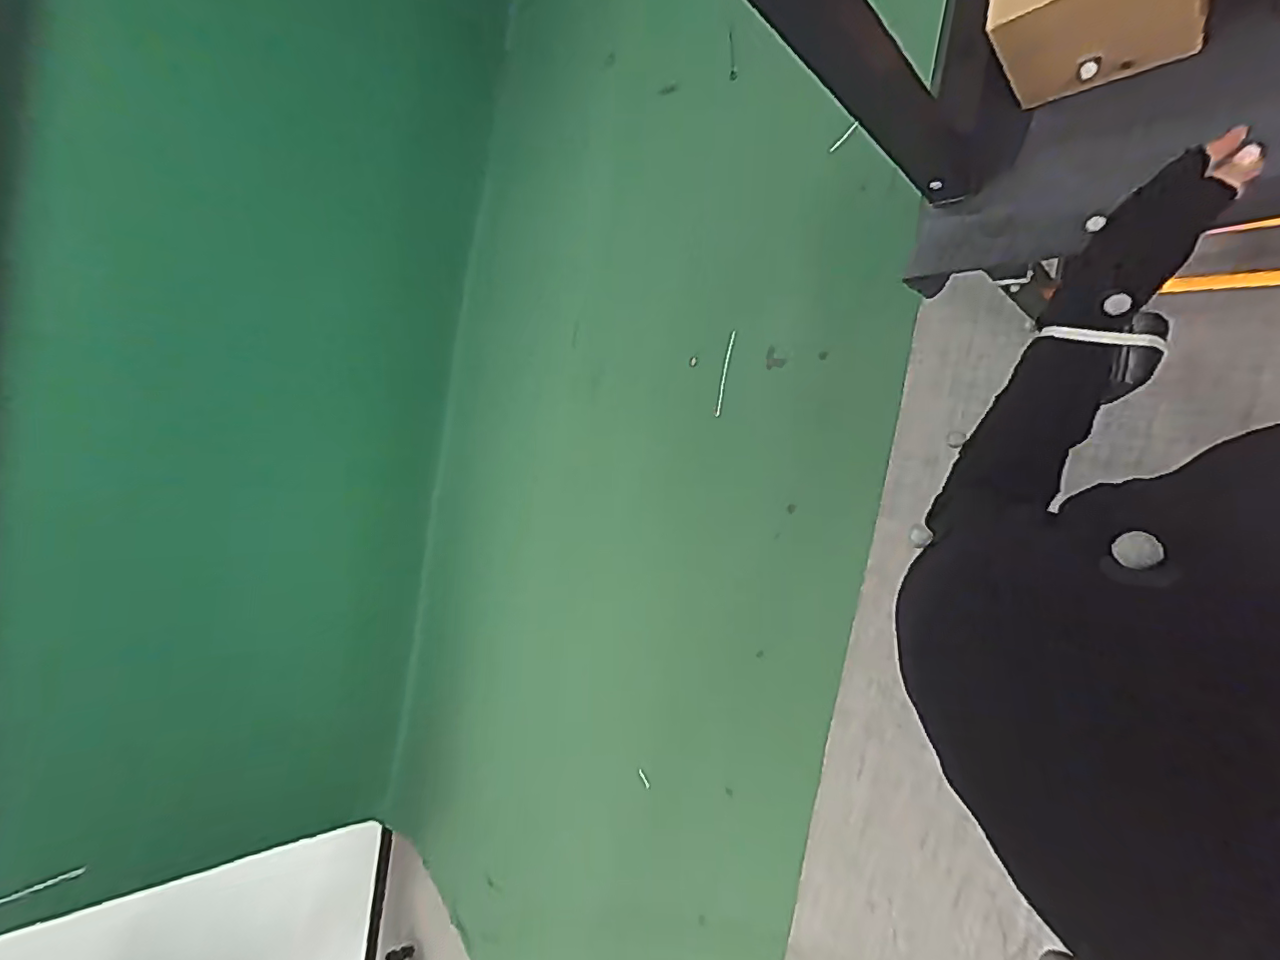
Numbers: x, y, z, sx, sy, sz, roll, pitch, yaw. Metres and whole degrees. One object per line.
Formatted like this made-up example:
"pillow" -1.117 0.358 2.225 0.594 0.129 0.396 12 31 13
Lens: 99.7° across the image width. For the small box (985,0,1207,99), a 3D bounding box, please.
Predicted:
"small box" 0.505 -0.571 0.587 0.168 0.176 0.179 10 93 48
